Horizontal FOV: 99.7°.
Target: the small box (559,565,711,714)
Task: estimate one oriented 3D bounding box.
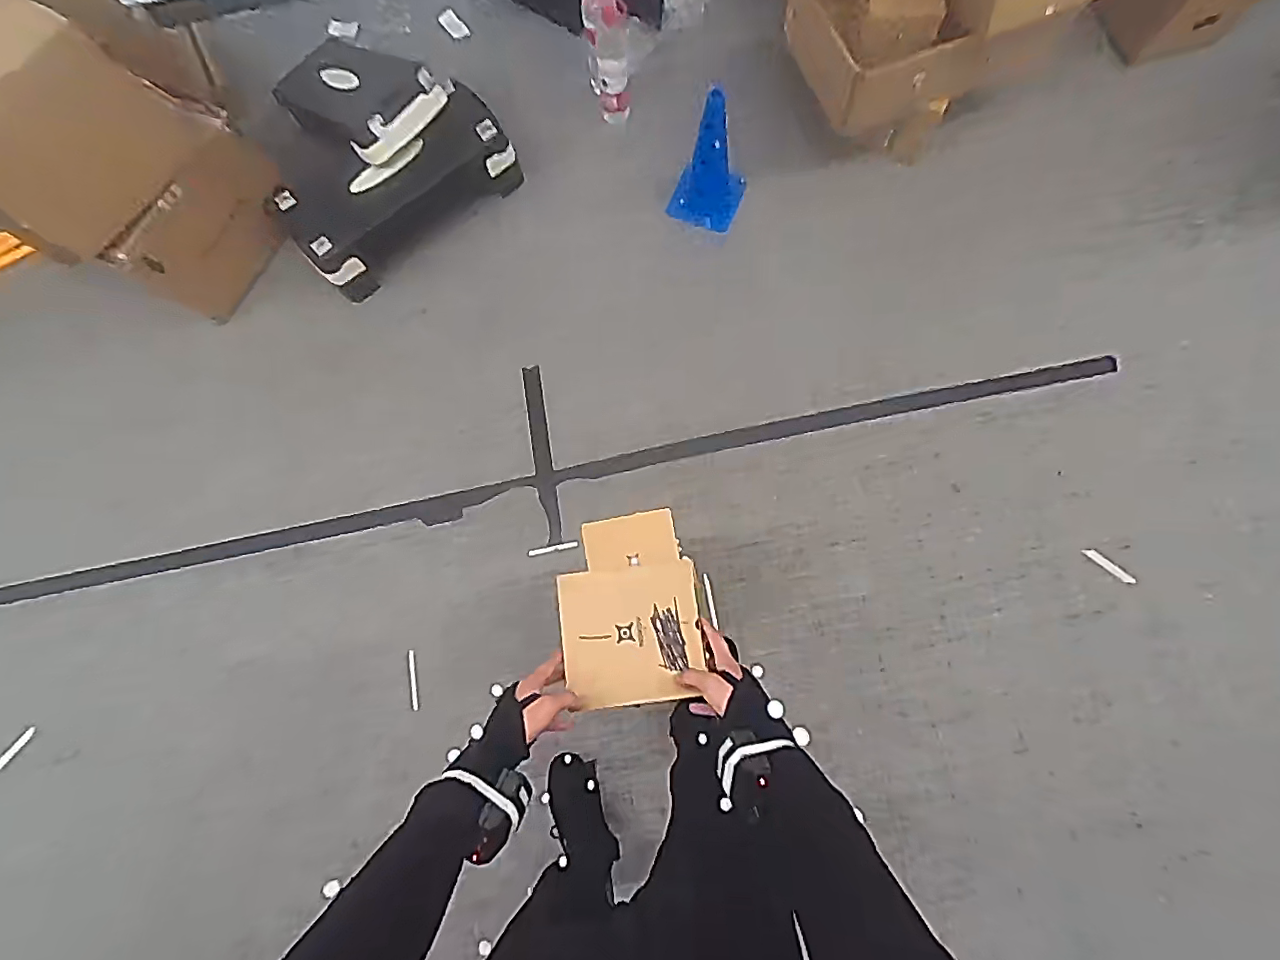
[{"bbox_3d":[-0.007,0.211,0.744,0.179,0.176,0.168,-7,76,1],"label":"small box"}]

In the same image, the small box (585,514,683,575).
[{"bbox_3d":[-0.004,0.174,1.031,0.168,0.176,0.179,-11,78,1],"label":"small box"}]
